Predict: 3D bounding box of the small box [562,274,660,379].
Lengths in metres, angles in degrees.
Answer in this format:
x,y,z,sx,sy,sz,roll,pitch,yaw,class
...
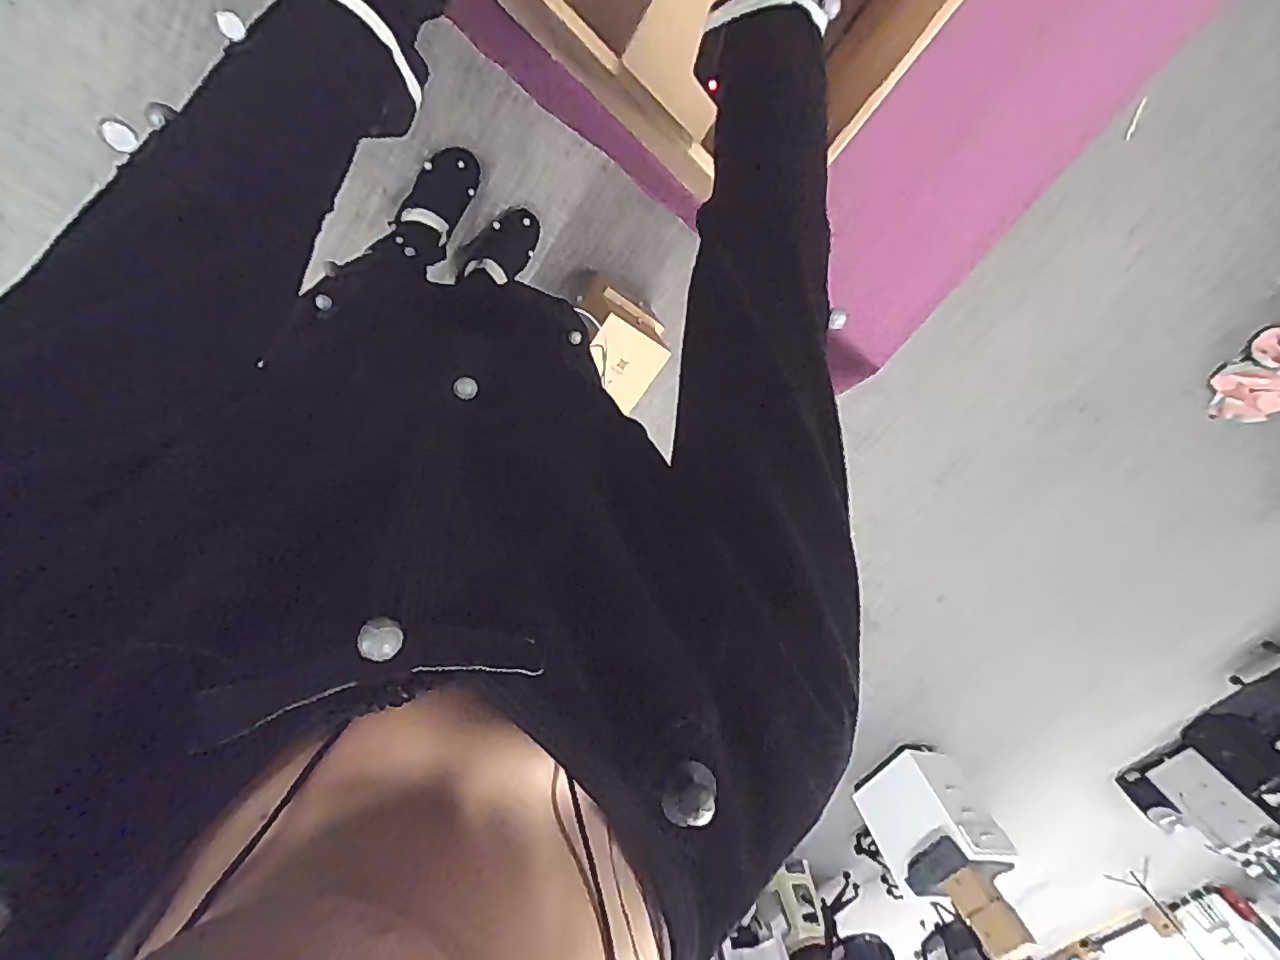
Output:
x,y,z,sx,sy,sz,roll,pitch,yaw,class
-0.079,-0.390,1.360,0.179,0.176,0.168,29,112,-28,small box
